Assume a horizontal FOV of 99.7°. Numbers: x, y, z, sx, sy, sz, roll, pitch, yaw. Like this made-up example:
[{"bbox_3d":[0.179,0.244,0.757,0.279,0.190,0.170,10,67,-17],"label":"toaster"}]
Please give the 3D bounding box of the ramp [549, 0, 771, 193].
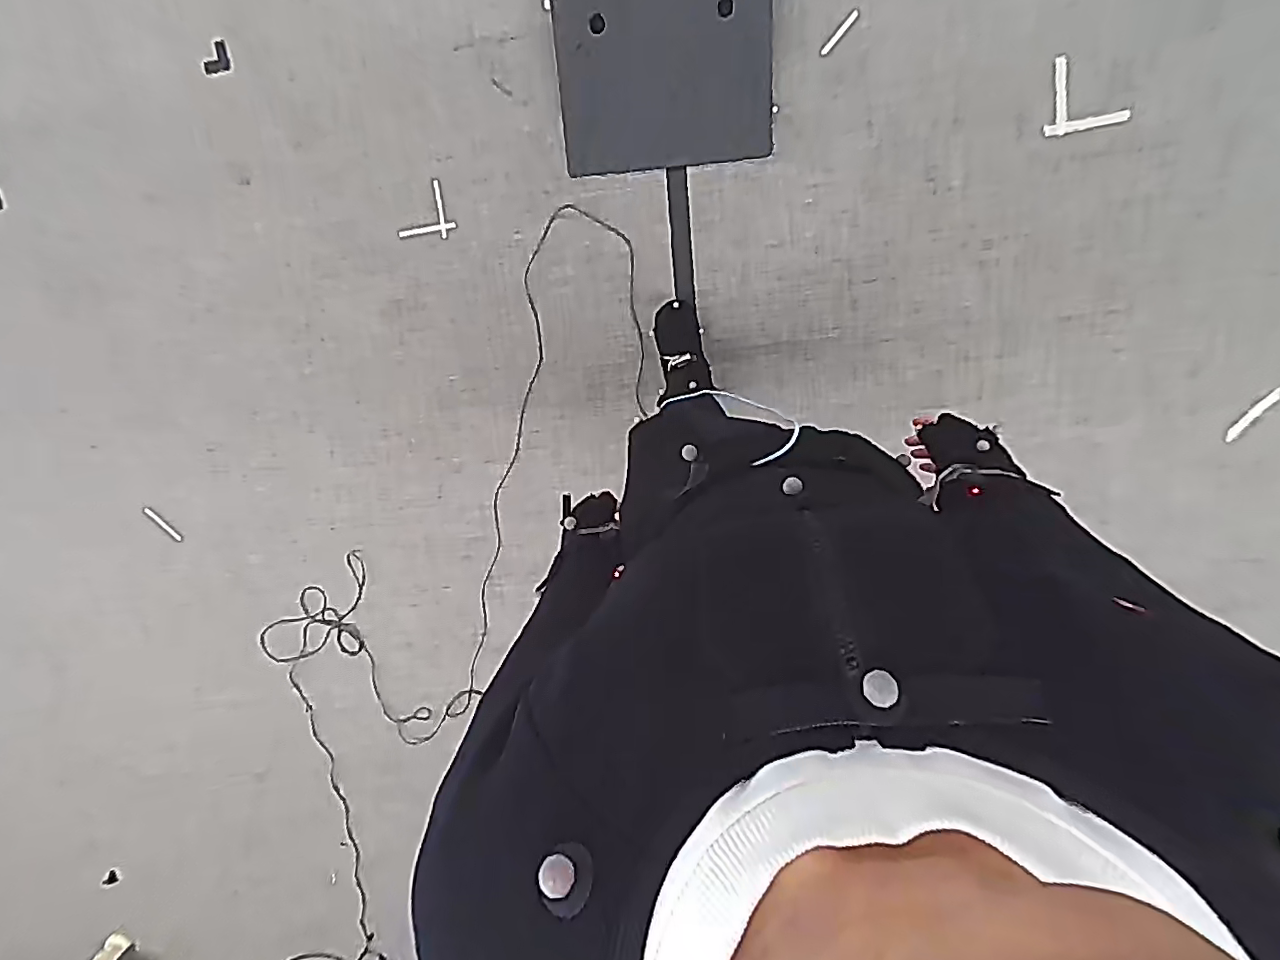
[{"bbox_3d":[0.027,-1.203,1.168,0.509,0.206,0.991,-6,99,6],"label":"ramp"}]
